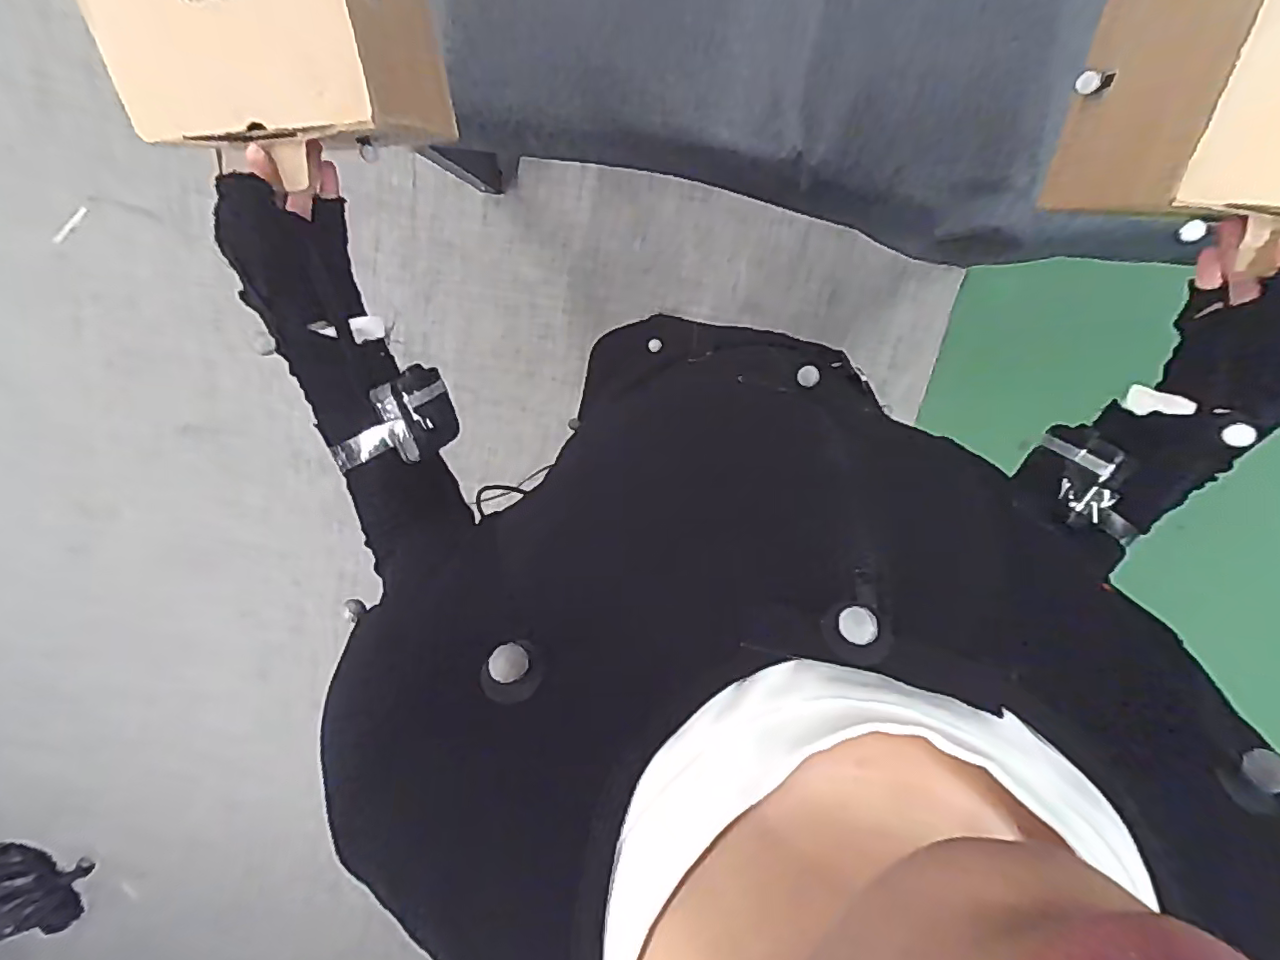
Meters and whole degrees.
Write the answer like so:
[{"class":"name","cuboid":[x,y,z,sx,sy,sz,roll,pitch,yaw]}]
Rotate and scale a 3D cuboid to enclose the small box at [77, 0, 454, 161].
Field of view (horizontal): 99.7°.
[{"class":"small box","cuboid":[-0.252,-0.334,0.386,0.168,0.176,0.179,-3,118,3]}]
